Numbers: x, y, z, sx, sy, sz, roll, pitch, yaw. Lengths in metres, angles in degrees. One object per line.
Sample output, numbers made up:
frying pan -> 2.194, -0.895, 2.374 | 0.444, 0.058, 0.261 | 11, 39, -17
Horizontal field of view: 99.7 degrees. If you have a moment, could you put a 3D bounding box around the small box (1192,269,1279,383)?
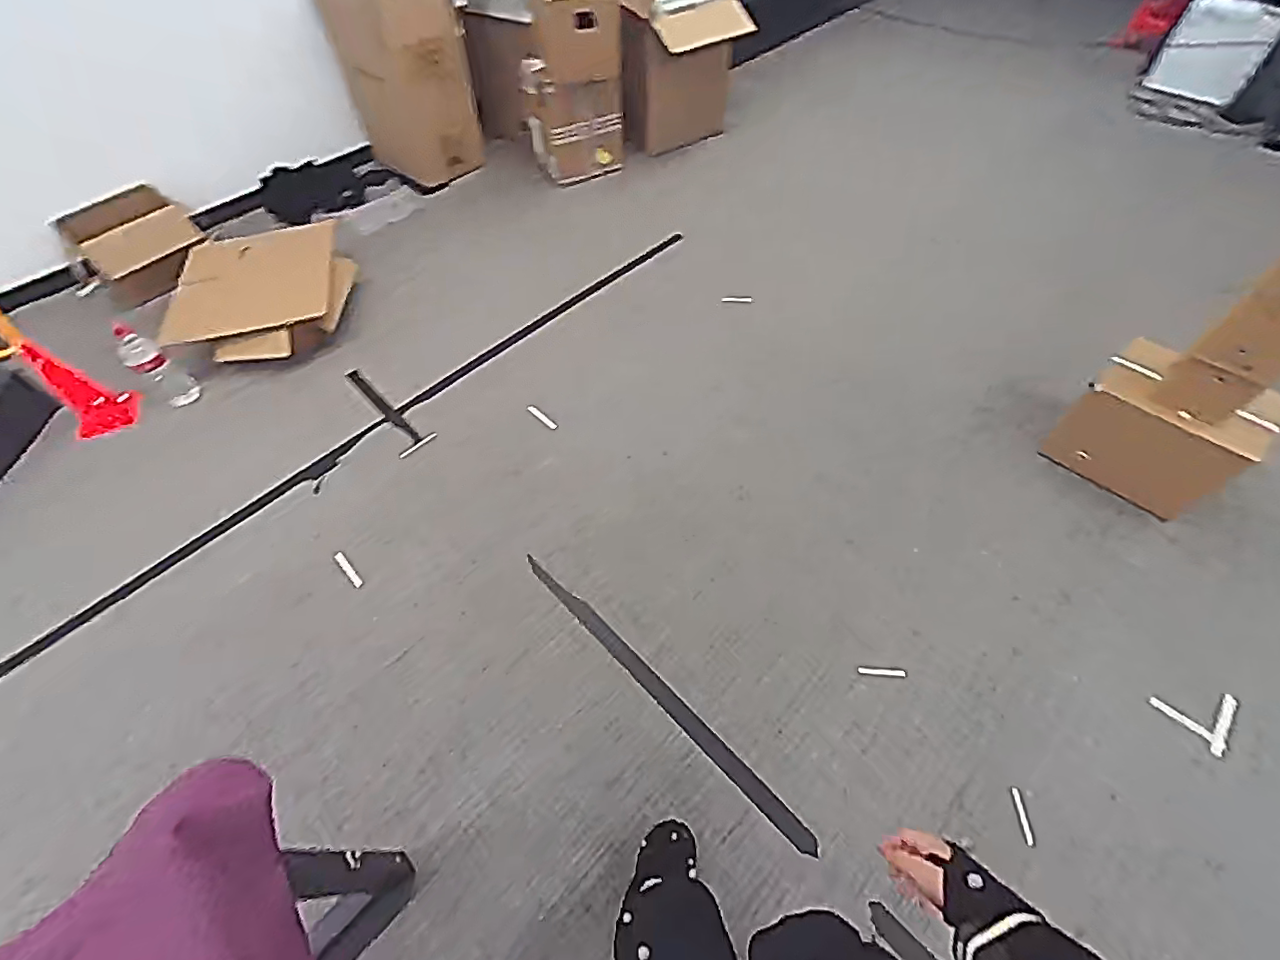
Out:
small box -> 1.517, -0.374, 1.317 | 0.168, 0.176, 0.179 | 37, 66, 26

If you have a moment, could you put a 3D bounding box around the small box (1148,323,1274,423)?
small box -> 1.535, -0.283, 1.451 | 0.179, 0.176, 0.168 | 37, 66, 24
